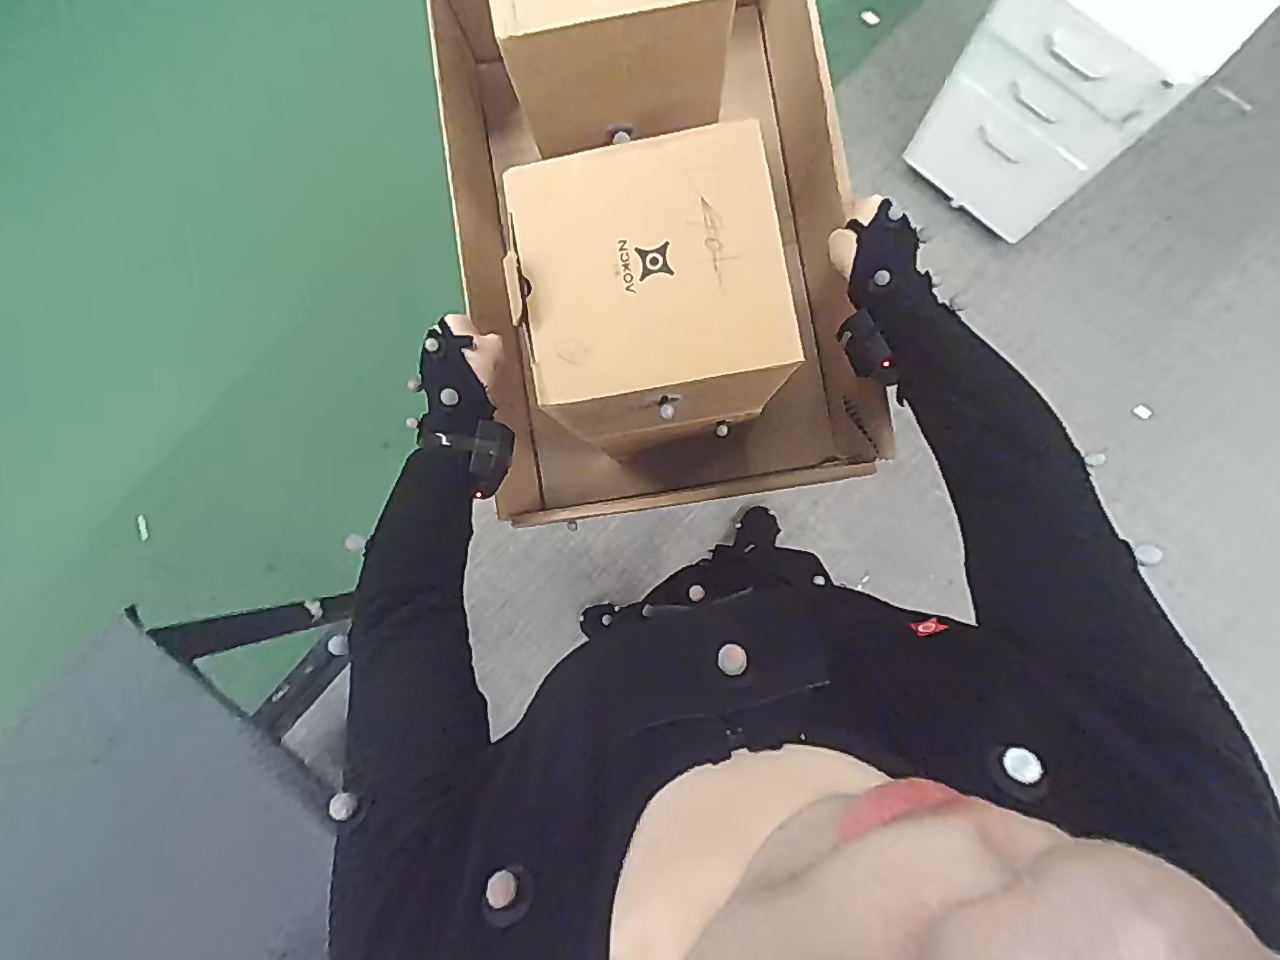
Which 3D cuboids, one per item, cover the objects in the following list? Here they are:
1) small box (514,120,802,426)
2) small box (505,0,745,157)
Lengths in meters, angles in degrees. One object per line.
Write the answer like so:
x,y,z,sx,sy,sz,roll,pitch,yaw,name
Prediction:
0.014,-0.145,0.442,0.179,0.176,0.168,-10,88,2,small box
-0.017,-0.397,0.448,0.168,0.176,0.179,-7,90,2,small box
